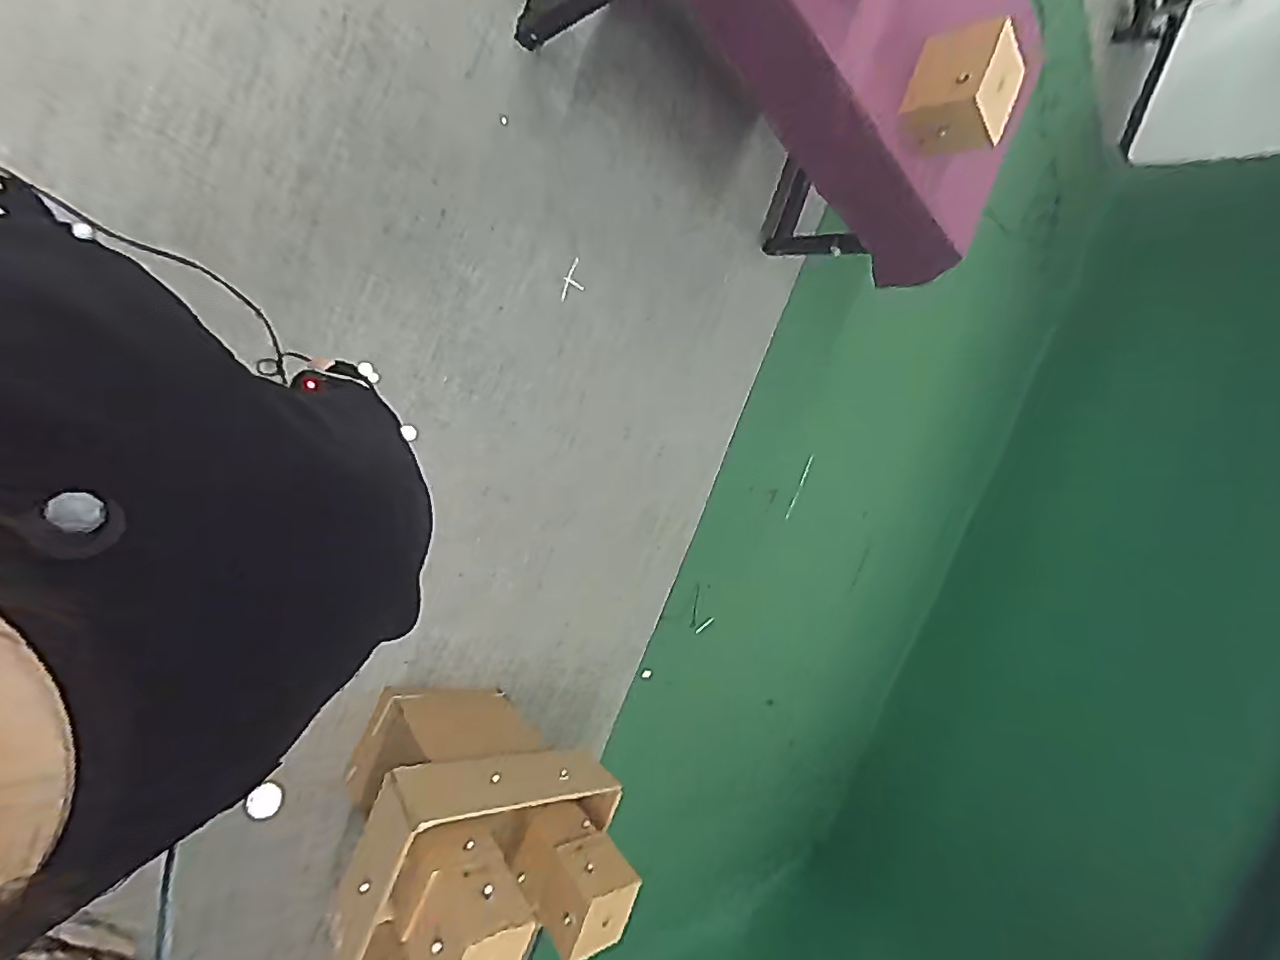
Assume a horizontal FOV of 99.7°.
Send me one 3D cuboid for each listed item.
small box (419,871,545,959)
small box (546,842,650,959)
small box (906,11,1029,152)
[{"bbox_3d":[-0.333,0.954,1.121,0.168,0.176,0.179,23,90,-42],"label":"small box"},{"bbox_3d":[-0.110,1.040,1.343,0.168,0.176,0.179,16,96,-42],"label":"small box"},{"bbox_3d":[0.721,-0.868,1.202,0.168,0.176,0.179,16,95,-43],"label":"small box"}]
